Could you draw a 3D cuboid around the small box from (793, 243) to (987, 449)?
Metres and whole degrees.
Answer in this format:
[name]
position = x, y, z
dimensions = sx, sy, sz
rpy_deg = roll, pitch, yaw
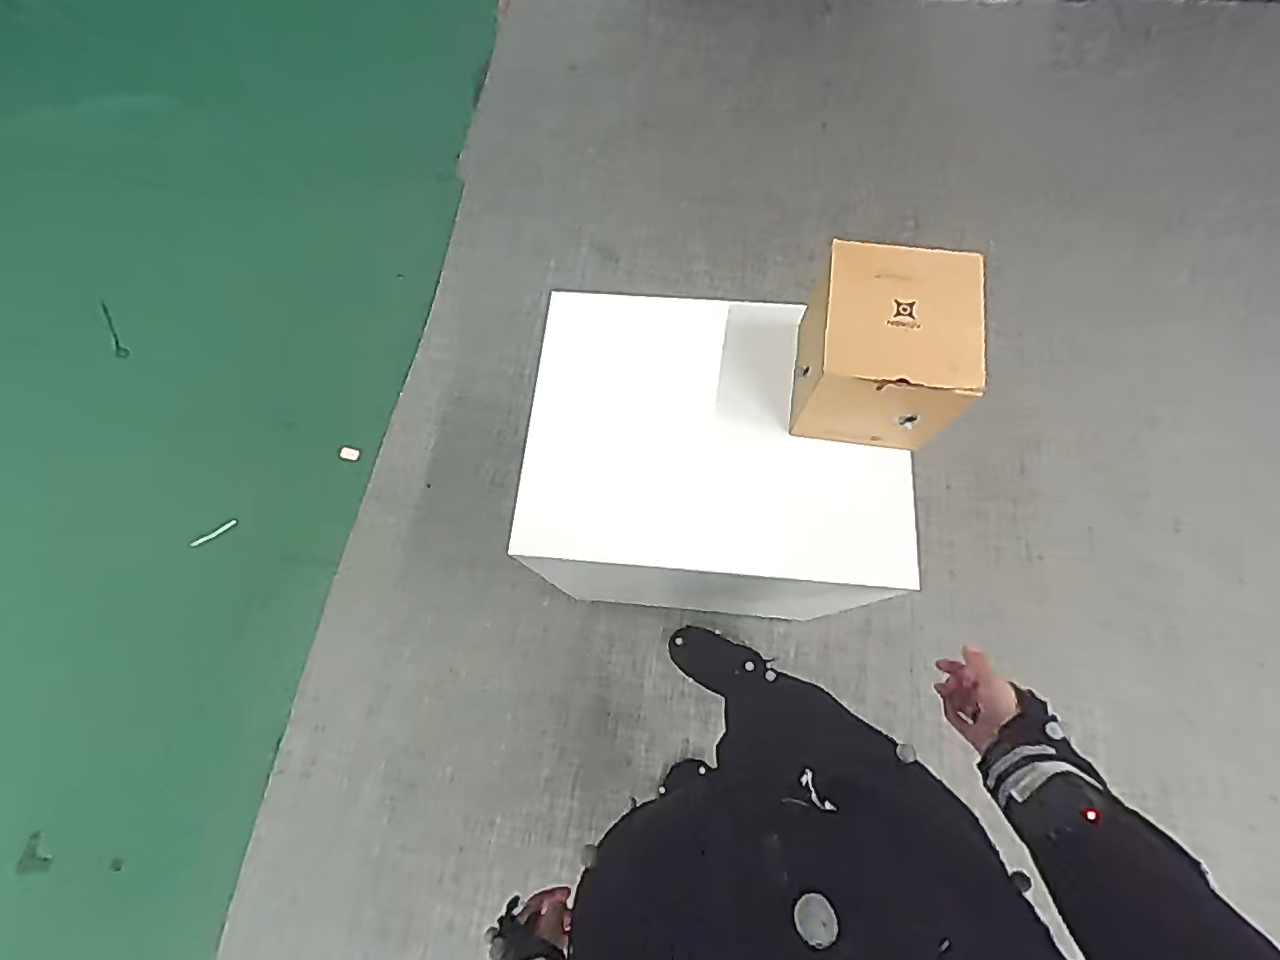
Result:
[small box]
position = 0.289, -0.151, 0.655
dimensions = 0.168, 0.176, 0.179
rpy_deg = 8, 72, 5
